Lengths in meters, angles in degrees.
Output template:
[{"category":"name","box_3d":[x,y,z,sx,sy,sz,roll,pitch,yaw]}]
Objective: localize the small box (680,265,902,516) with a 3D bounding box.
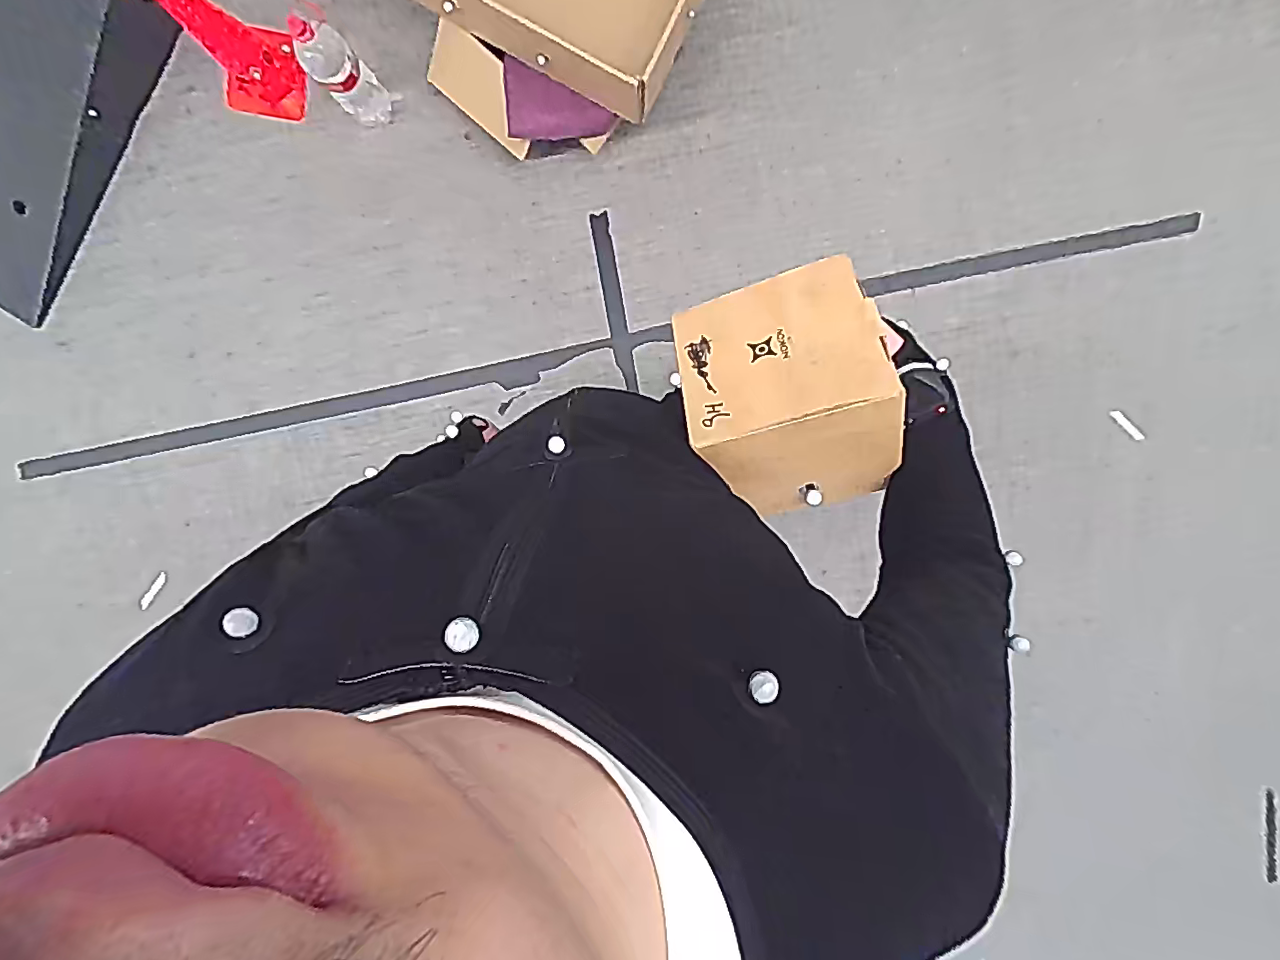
[{"category":"small box","box_3d":[0.154,-0.080,0.562,0.179,0.176,0.168,-14,57,16]}]
